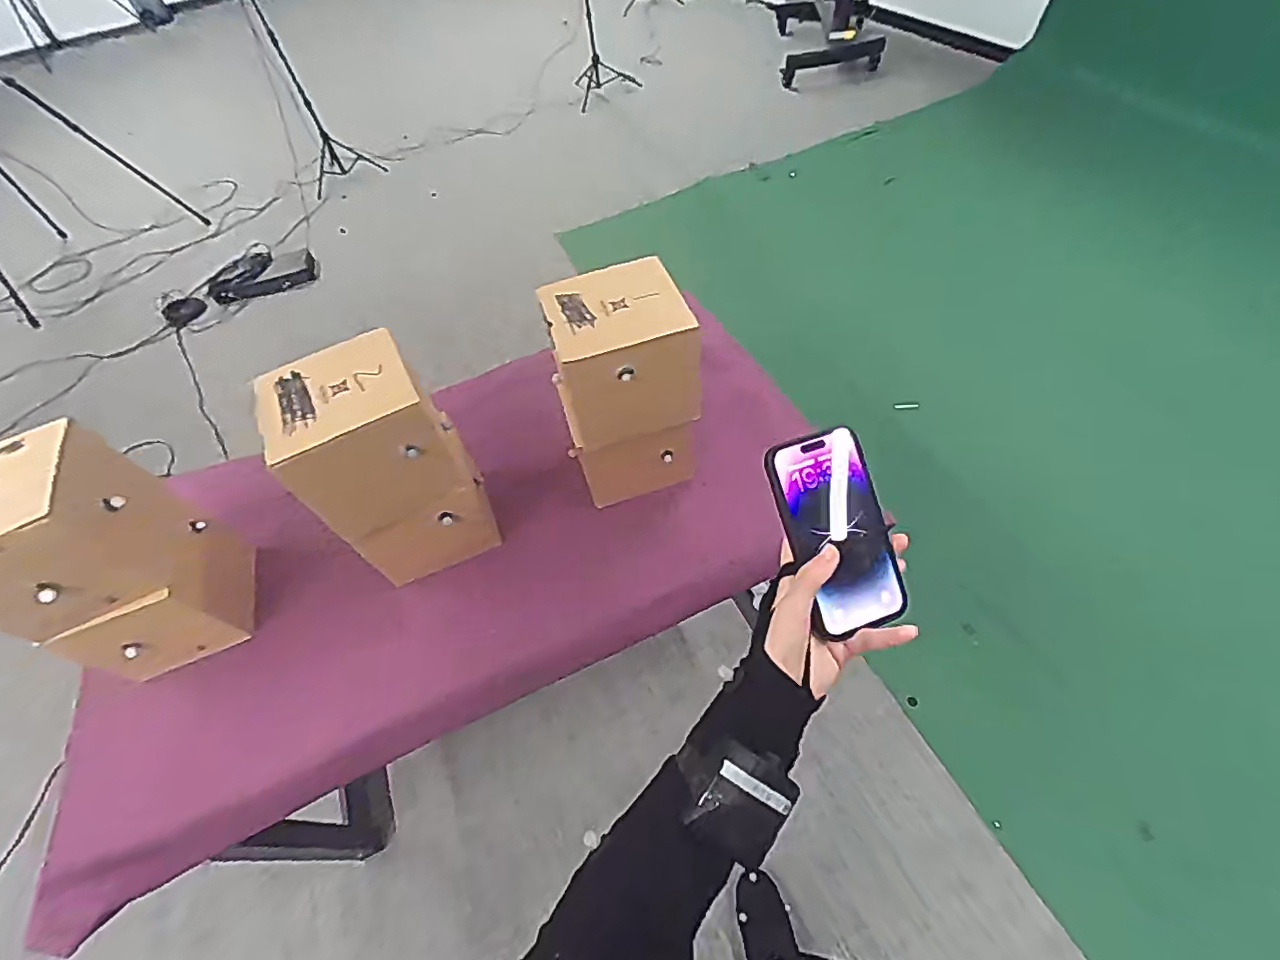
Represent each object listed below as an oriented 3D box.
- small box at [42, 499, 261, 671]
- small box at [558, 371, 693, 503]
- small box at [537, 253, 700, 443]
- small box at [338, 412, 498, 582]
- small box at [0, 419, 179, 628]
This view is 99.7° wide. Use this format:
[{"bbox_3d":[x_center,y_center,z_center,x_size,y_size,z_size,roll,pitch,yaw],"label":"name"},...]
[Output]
[{"bbox_3d":[-0.701,0.164,0.803,0.168,0.176,0.179,-22,55,-8],"label":"small box"},{"bbox_3d":[-0.019,-0.089,0.887,0.179,0.176,0.168,-18,54,-4],"label":"small box"},{"bbox_3d":[-0.025,-0.176,0.747,0.179,0.176,0.168,-18,54,-5],"label":"small box"},{"bbox_3d":[-0.336,0.030,0.845,0.179,0.176,0.168,-23,55,-8],"label":"small box"},{"bbox_3d":[-0.723,0.064,0.675,0.168,0.176,0.179,-26,56,-11],"label":"small box"}]
